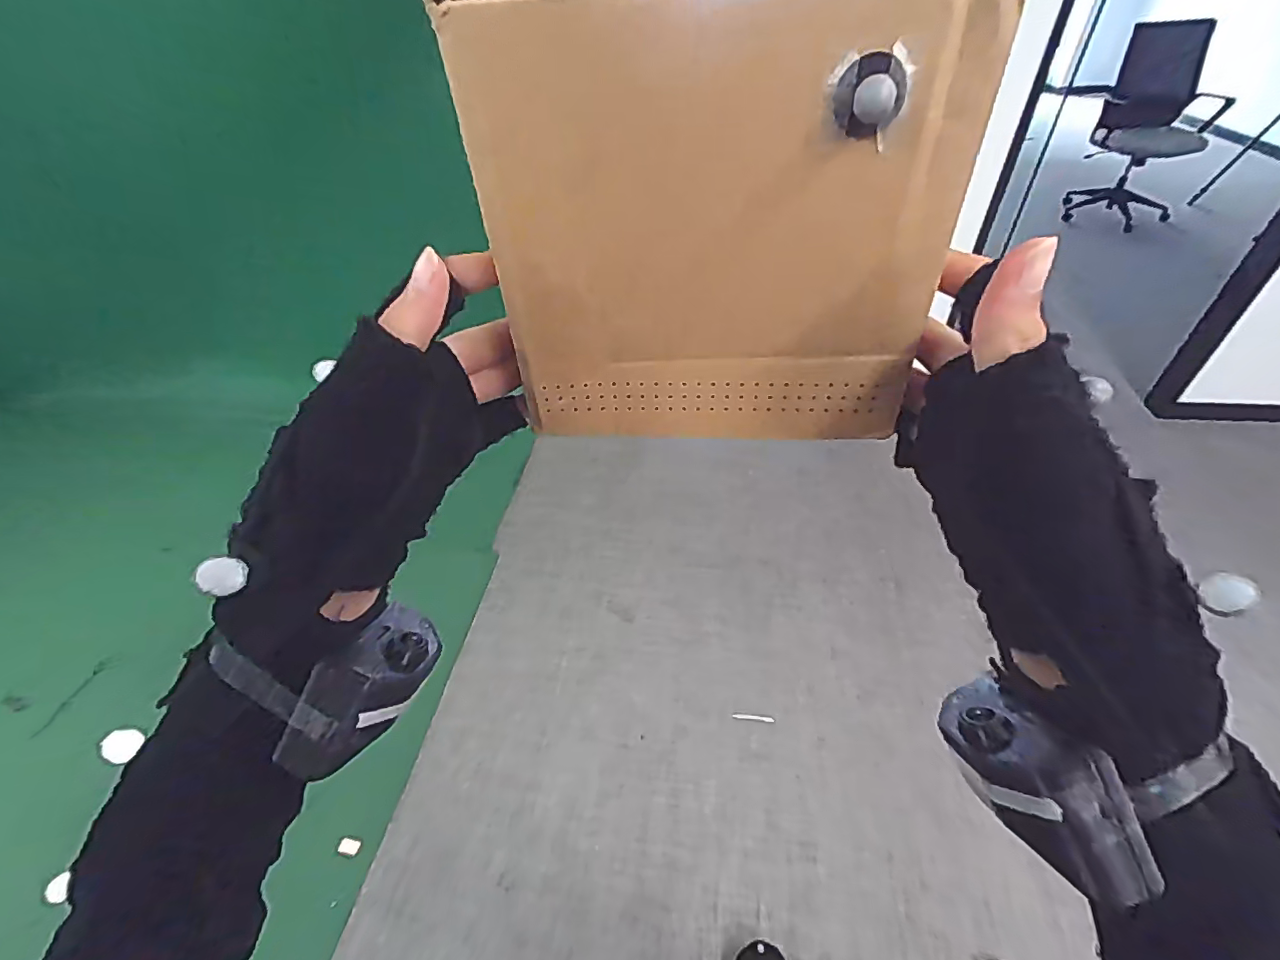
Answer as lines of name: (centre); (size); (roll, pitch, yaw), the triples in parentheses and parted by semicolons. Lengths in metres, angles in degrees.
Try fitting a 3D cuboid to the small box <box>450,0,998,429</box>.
small box: (0.035, -0.138, 0.275); (0.179, 0.176, 0.168); (1, 42, 5)
